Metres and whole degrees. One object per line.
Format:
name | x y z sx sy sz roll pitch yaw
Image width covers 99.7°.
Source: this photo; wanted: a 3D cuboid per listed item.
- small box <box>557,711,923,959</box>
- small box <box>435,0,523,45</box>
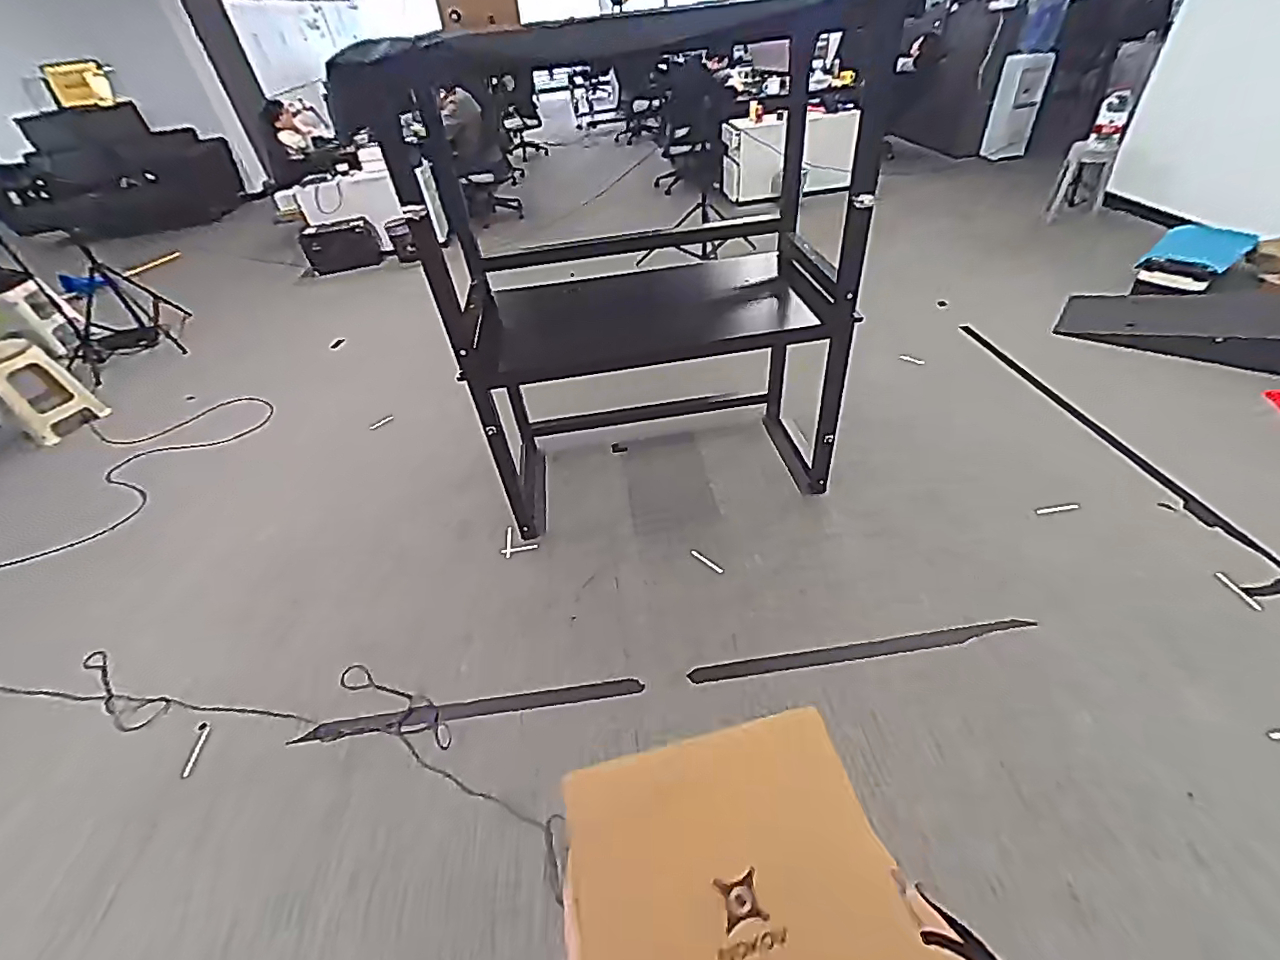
small box | 0.052 0.278 0.335 0.168 0.176 0.179 -14 49 -8
small box | -0.342 -1.027 1.129 0.168 0.176 0.179 -10 39 -5
